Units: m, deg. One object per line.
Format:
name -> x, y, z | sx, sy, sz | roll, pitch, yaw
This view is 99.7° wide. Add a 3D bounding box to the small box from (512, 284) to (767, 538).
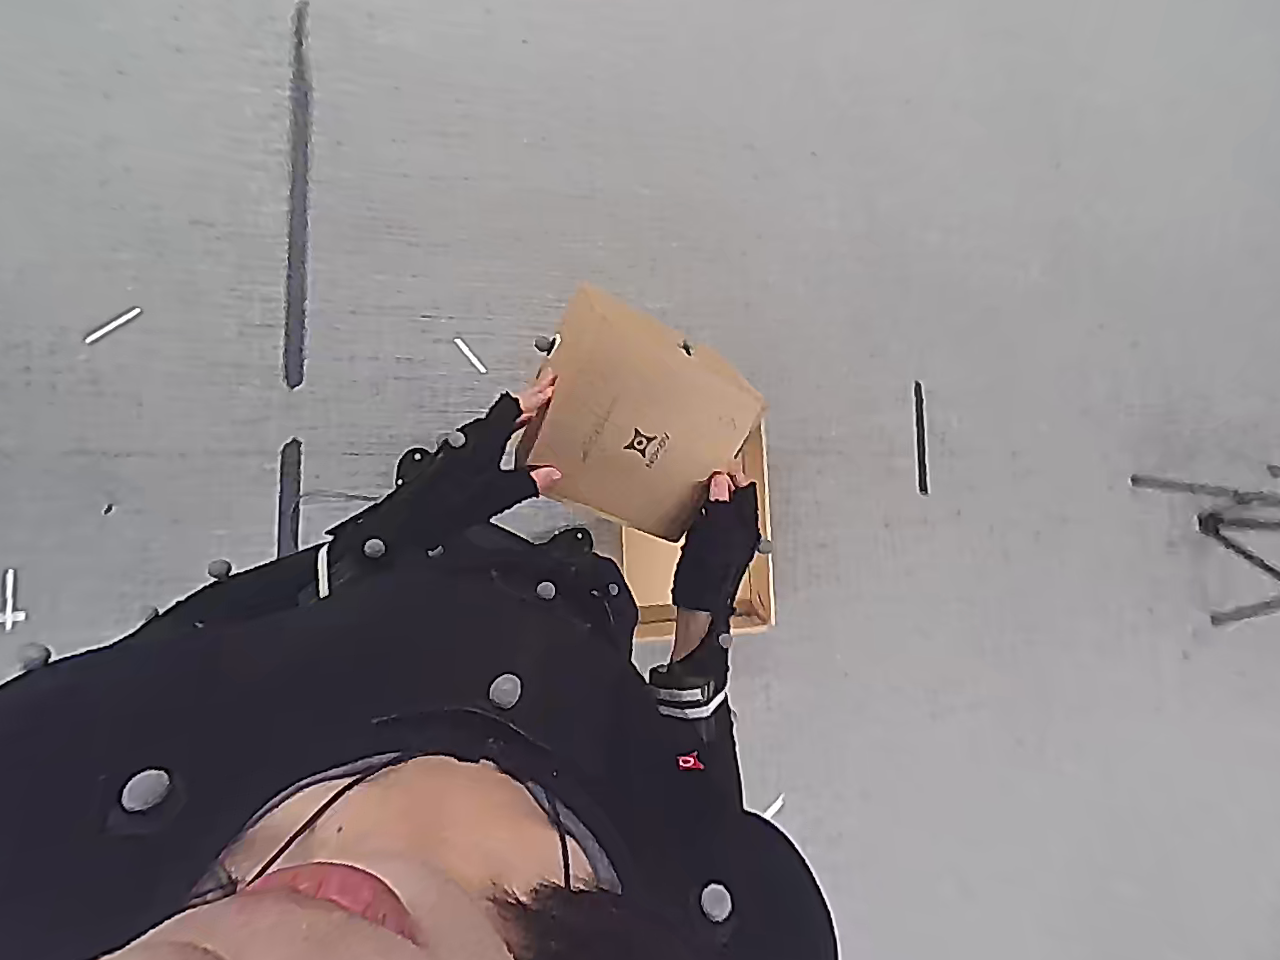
small box -> -0.014, -0.074, 0.536 | 0.179, 0.176, 0.168 | 22, 112, -23
